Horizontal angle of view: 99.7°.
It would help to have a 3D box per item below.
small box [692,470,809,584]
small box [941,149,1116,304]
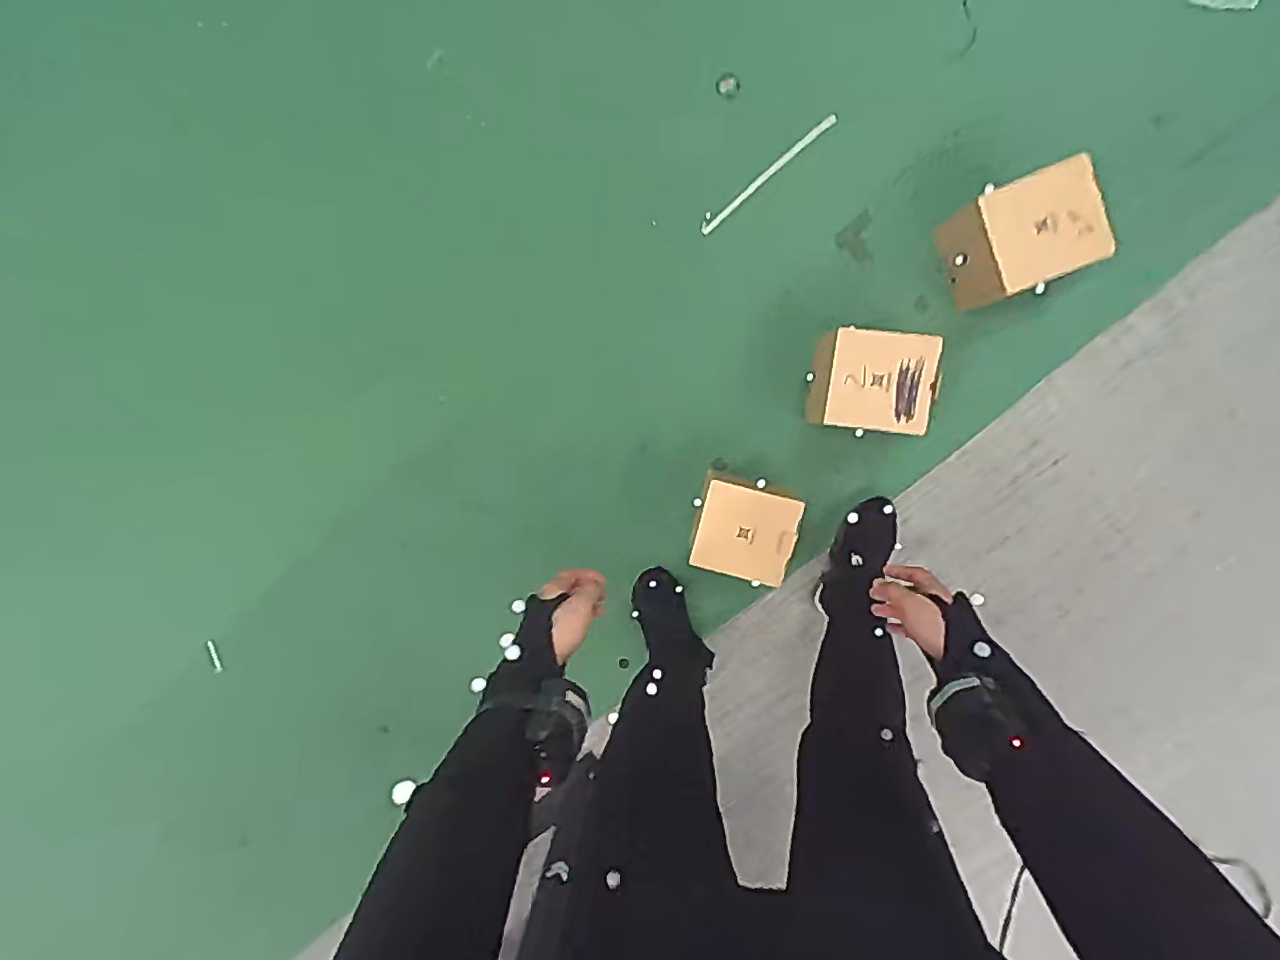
[{"bbox_3d":[0.203,0.082,1.051,0.179,0.176,0.168,14,99,2],"label":"small box"},{"bbox_3d":[0.658,-0.426,0.943,0.179,0.176,0.168,-21,96,6],"label":"small box"}]
